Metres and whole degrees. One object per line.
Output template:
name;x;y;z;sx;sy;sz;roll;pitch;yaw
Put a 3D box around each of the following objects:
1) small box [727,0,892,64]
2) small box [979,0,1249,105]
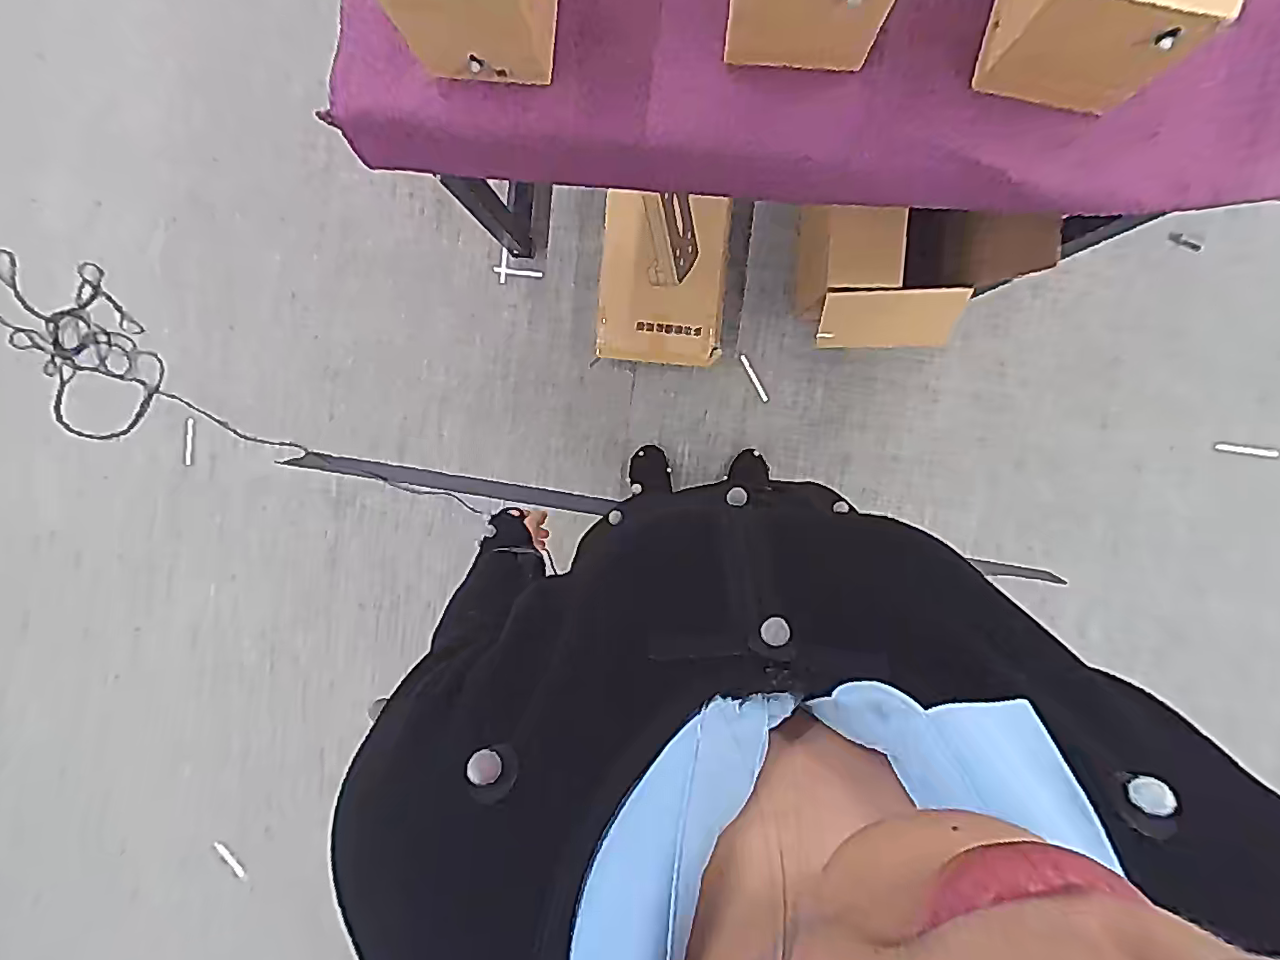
small box;0.200;-0.605;0.602;0.179;0.176;0.168;6;94;3
small box;0.513;-0.549;0.588;0.179;0.176;0.168;13;97;2
